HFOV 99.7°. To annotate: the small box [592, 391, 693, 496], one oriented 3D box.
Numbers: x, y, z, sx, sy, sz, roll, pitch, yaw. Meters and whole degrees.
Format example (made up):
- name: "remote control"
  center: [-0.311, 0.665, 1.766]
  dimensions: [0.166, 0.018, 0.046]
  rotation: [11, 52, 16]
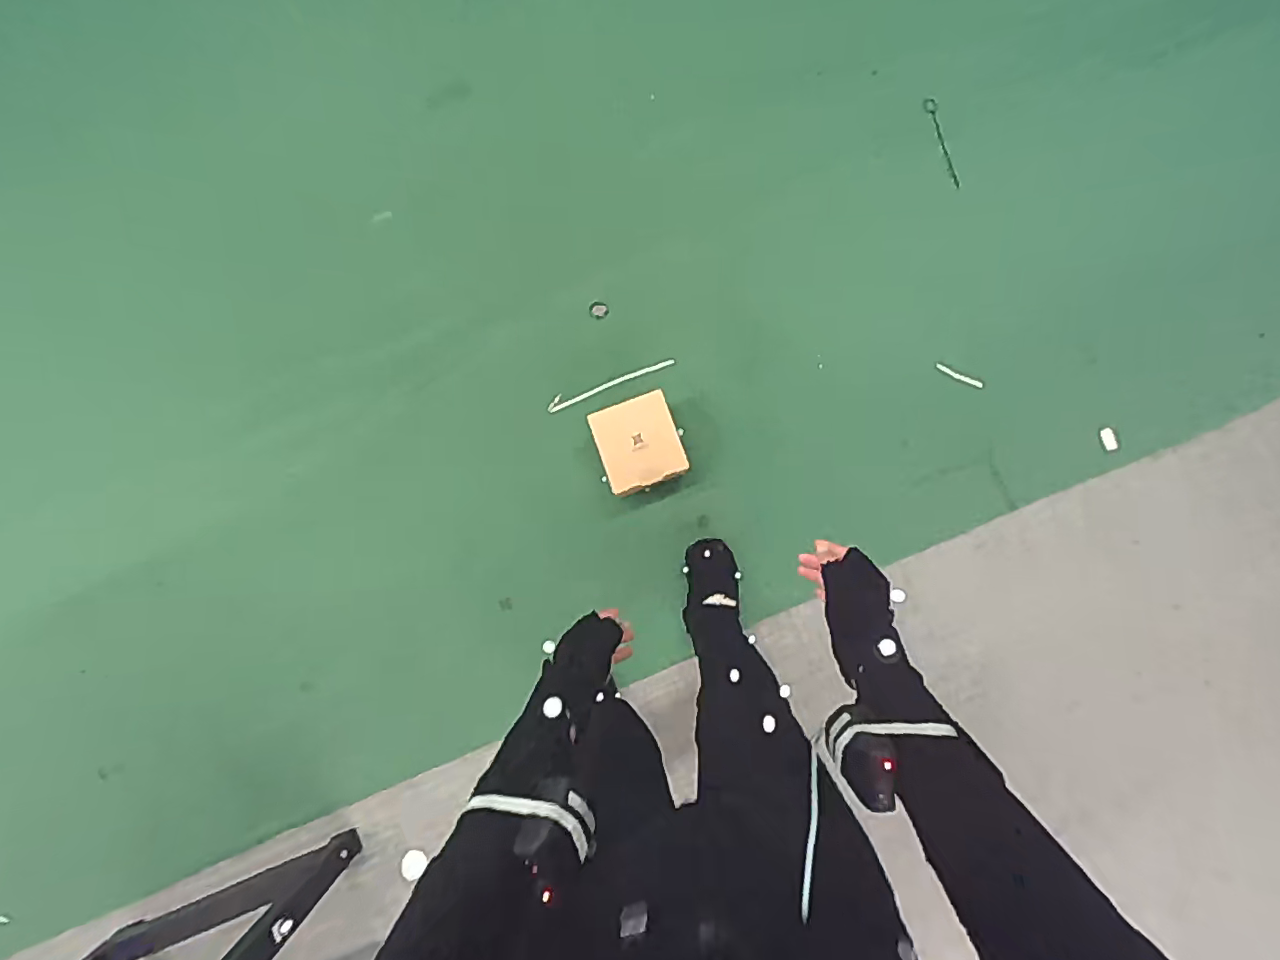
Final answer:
- name: "small box"
  center: [0.004, -0.072, 1.189]
  dimensions: [0.168, 0.176, 0.179]
  rotation: [-21, 87, 0]
